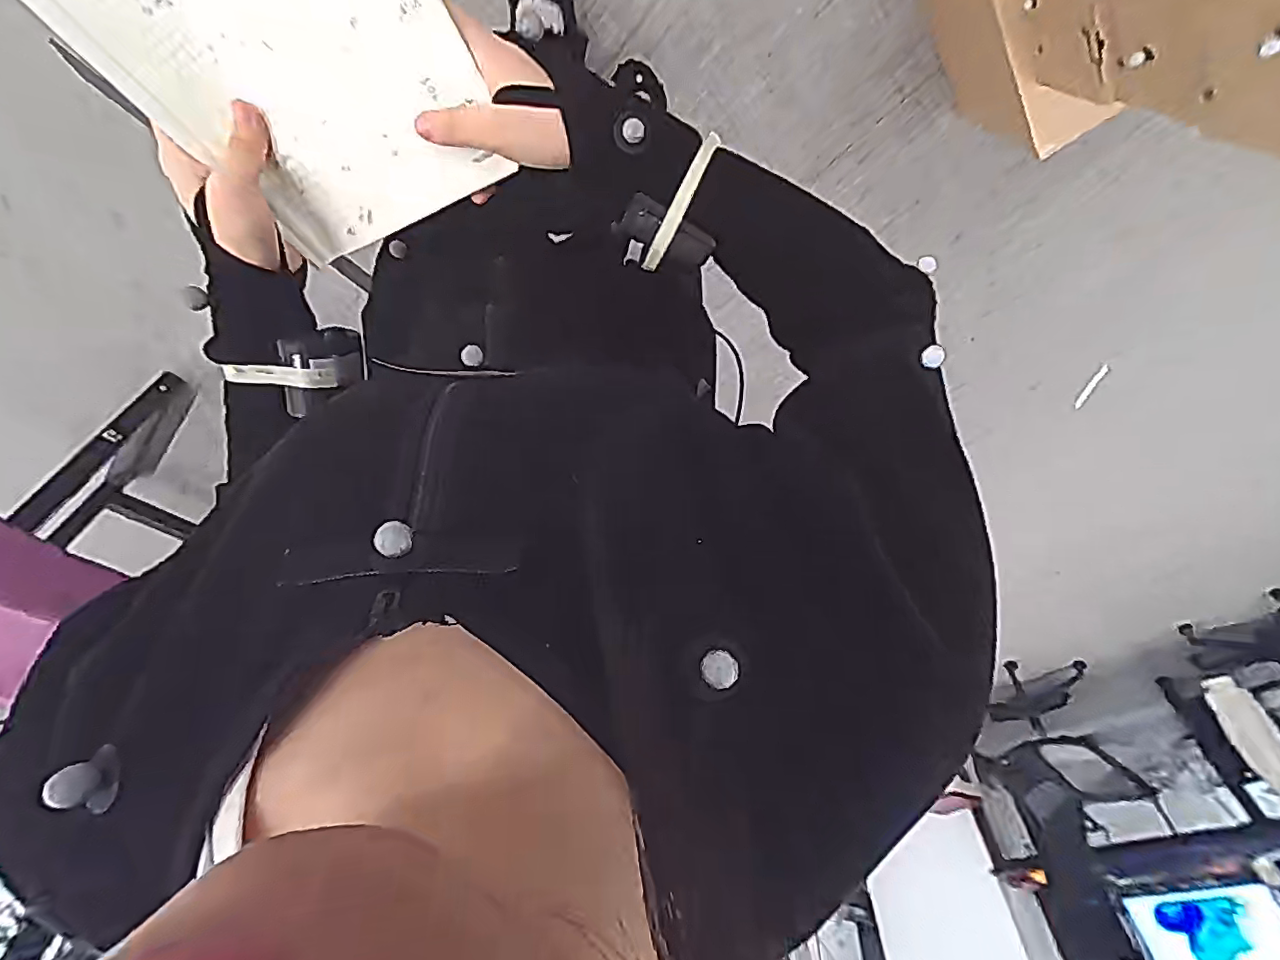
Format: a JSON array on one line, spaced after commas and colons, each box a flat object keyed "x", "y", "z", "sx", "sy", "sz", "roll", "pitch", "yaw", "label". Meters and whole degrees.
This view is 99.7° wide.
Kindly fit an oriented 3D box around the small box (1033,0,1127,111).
[{"x": 0.661, "y": -0.642, "z": 0.718, "sx": 0.179, "sy": 0.176, "sz": 0.168, "roll": -29, "pitch": 128, "yaw": 25, "label": "small box"}]

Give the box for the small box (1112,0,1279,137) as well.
[{"x": 0.669, "y": -0.531, "z": 0.596, "sx": 0.179, "sy": 0.176, "sz": 0.168, "roll": -30, "pitch": 128, "yaw": 28, "label": "small box"}]
